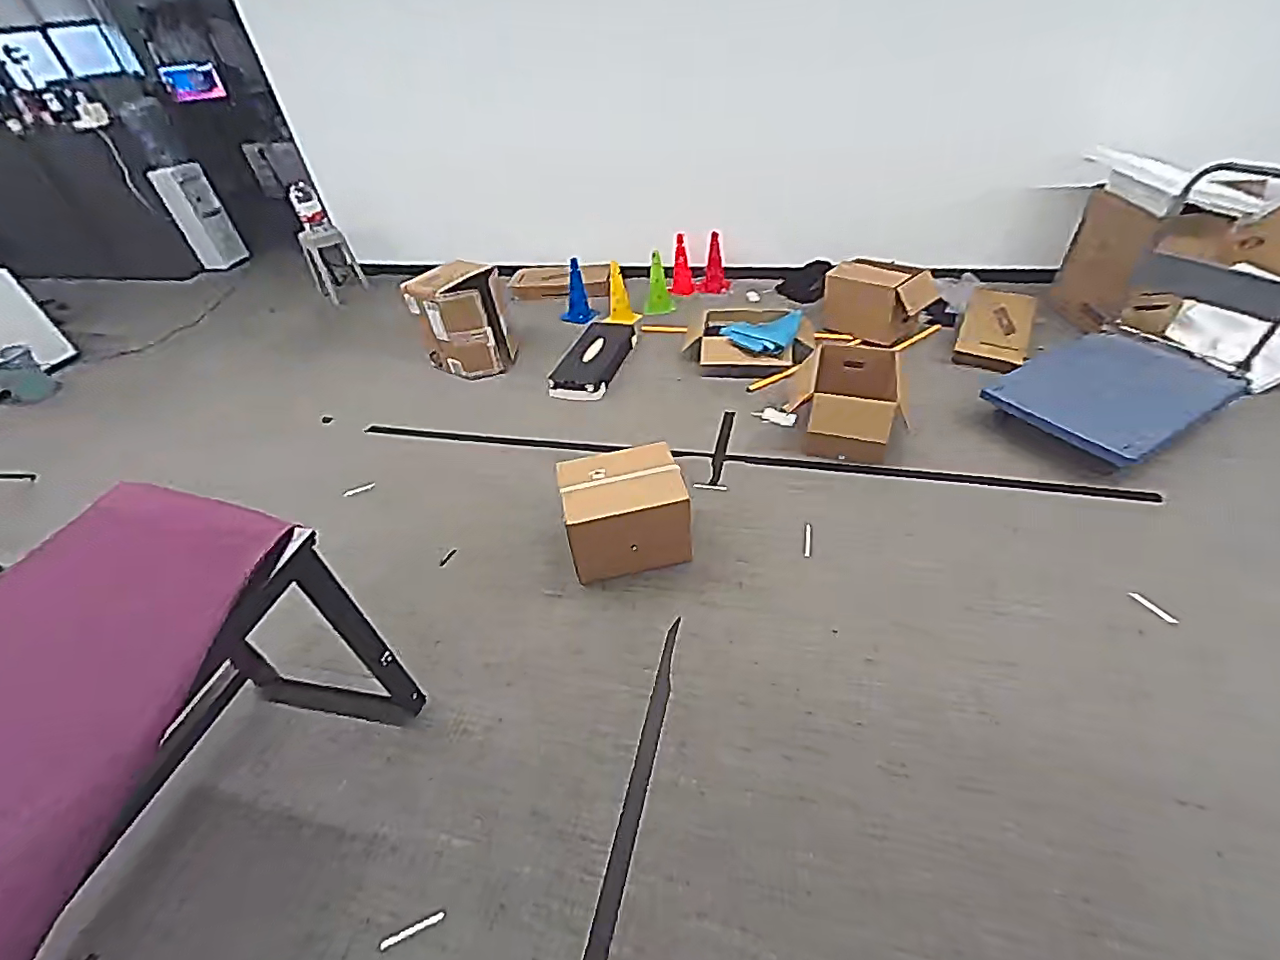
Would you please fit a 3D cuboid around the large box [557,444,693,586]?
[{"bbox_3d":[-0.051,0.120,1.899,0.408,0.320,0.320,-13,41,-6],"label":"large box"}]
